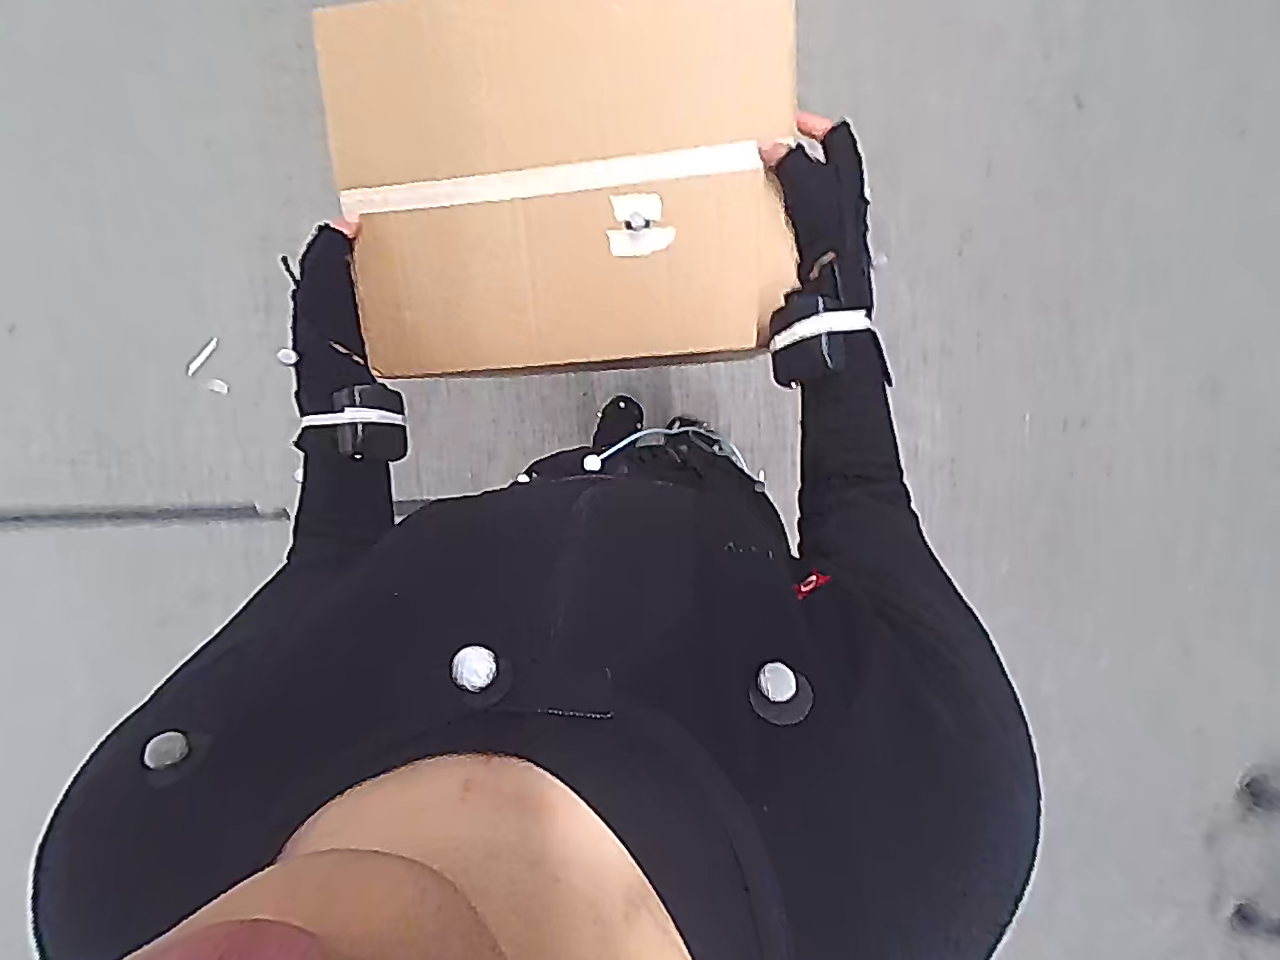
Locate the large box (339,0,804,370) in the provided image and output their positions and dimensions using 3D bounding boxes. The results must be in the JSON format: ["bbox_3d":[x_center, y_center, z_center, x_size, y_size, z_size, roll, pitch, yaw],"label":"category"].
[{"bbox_3d":[-0.049,-0.301,0.628,0.408,0.320,0.320,-3,101,4],"label":"large box"}]
